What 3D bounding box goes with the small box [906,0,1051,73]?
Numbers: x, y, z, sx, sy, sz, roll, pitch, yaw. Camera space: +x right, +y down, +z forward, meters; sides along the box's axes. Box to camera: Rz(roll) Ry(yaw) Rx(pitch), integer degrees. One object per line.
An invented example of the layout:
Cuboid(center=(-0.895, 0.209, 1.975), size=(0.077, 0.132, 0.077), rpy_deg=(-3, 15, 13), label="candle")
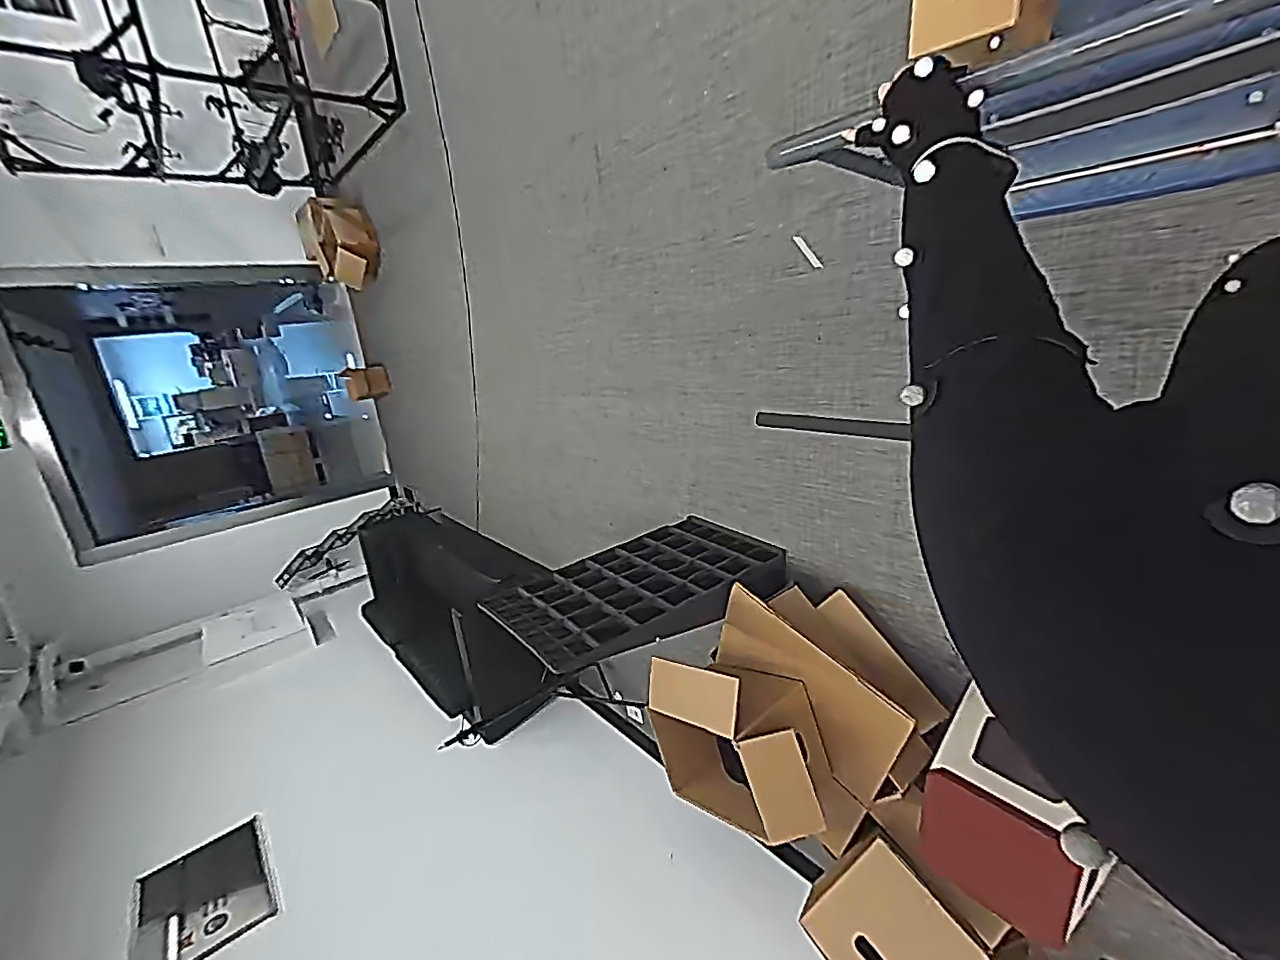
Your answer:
Cuboid(center=(0.600, -0.852, 0.952), size=(0.179, 0.176, 0.168), rpy_deg=(17, 117, 45), label="small box")
